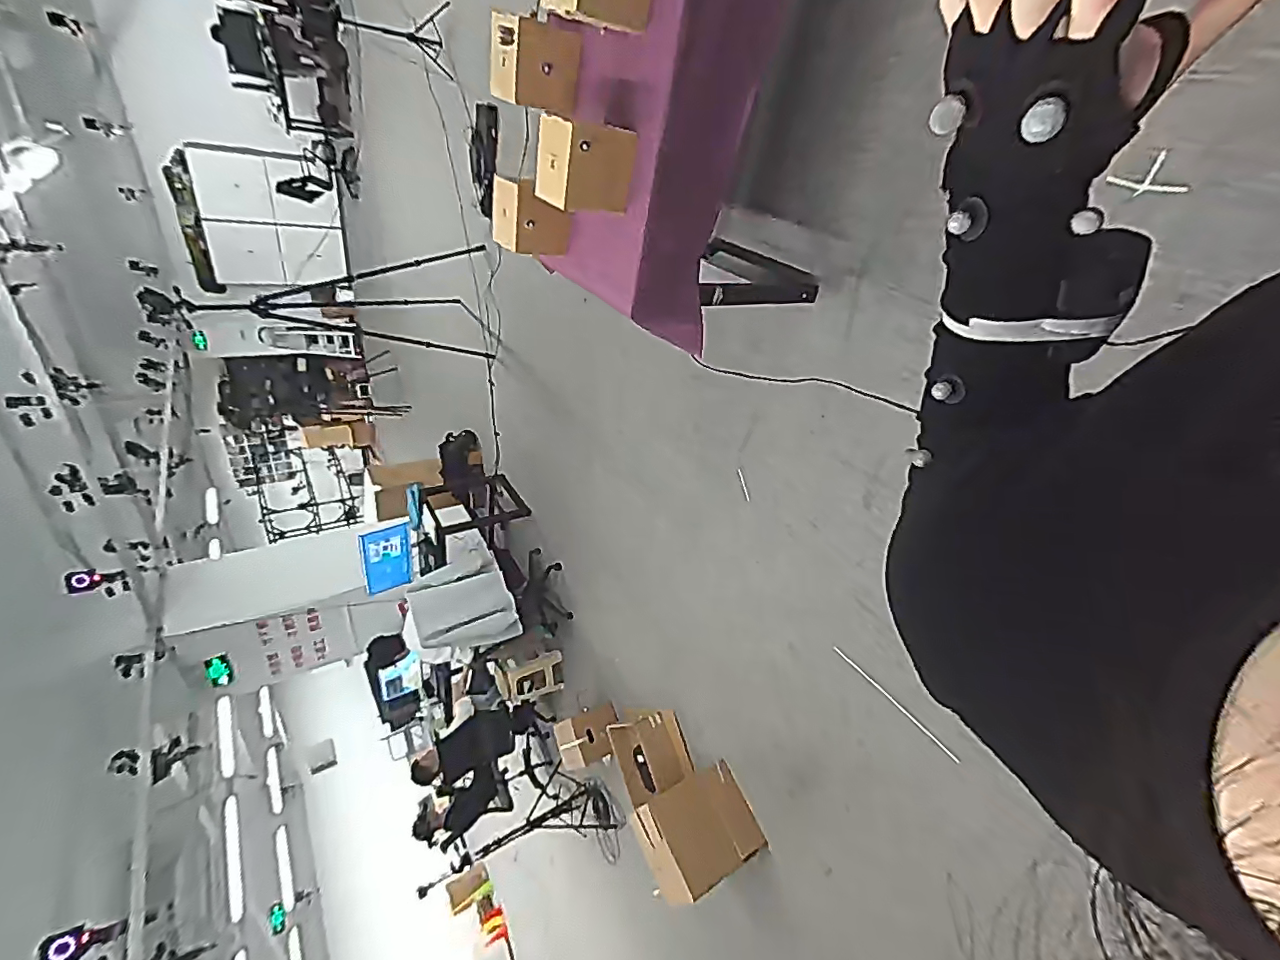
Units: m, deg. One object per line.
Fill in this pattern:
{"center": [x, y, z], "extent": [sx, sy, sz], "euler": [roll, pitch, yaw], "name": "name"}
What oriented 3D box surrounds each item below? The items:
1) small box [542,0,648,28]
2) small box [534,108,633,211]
{"center": [-0.082, -1.048, 1.094], "extent": [0.168, 0.176, 0.179], "euler": [48, 137, 37], "name": "small box"}
{"center": [-0.135, -0.753, 1.281], "extent": [0.168, 0.176, 0.179], "euler": [47, 136, 39], "name": "small box"}
